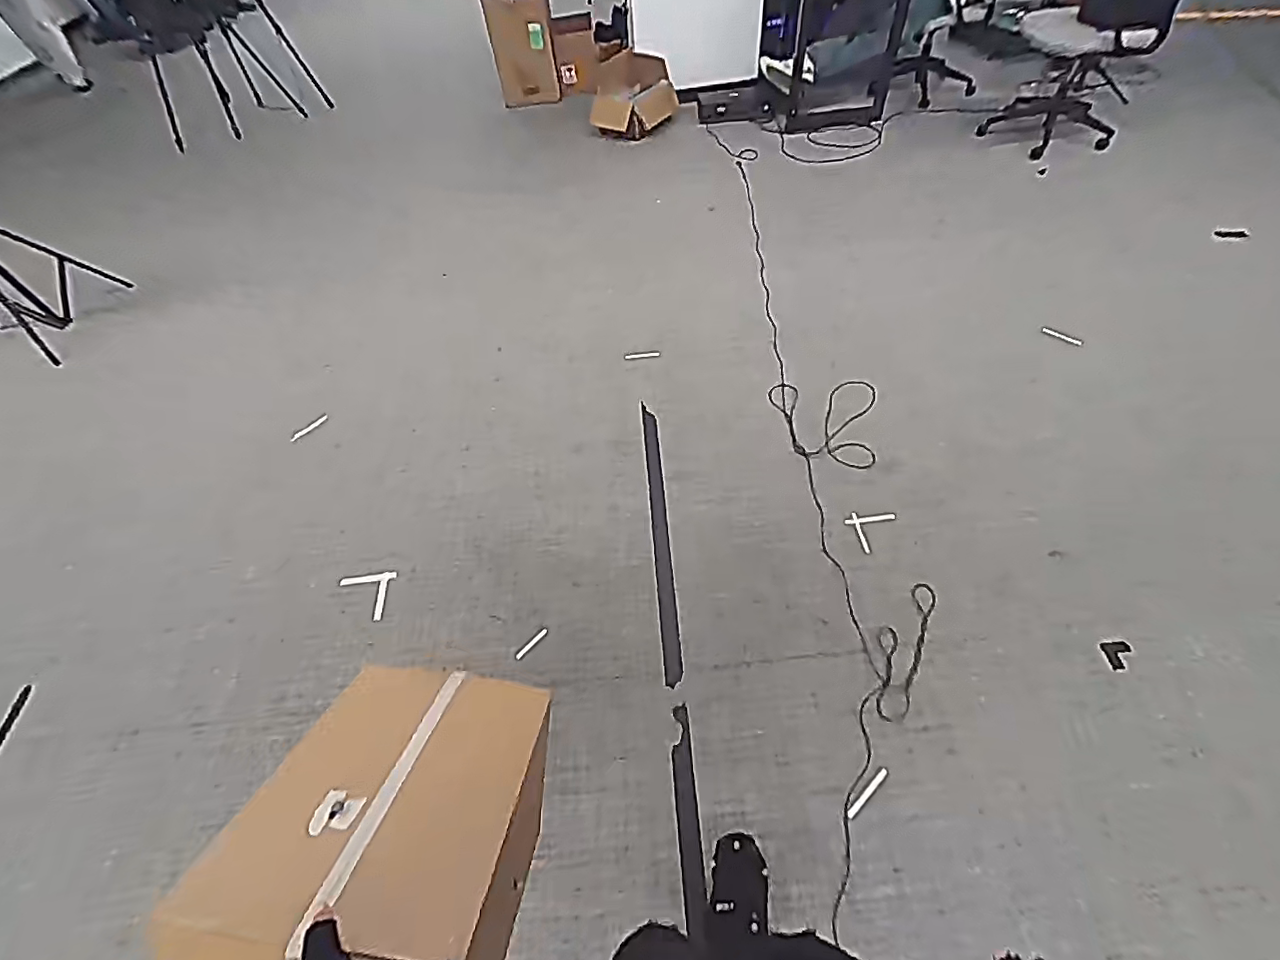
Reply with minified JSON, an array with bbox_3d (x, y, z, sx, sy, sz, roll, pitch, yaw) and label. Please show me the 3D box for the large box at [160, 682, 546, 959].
[{"bbox_3d":[-0.332,0.556,0.758,0.320,0.320,0.408,7,17,1],"label":"large box"}]
